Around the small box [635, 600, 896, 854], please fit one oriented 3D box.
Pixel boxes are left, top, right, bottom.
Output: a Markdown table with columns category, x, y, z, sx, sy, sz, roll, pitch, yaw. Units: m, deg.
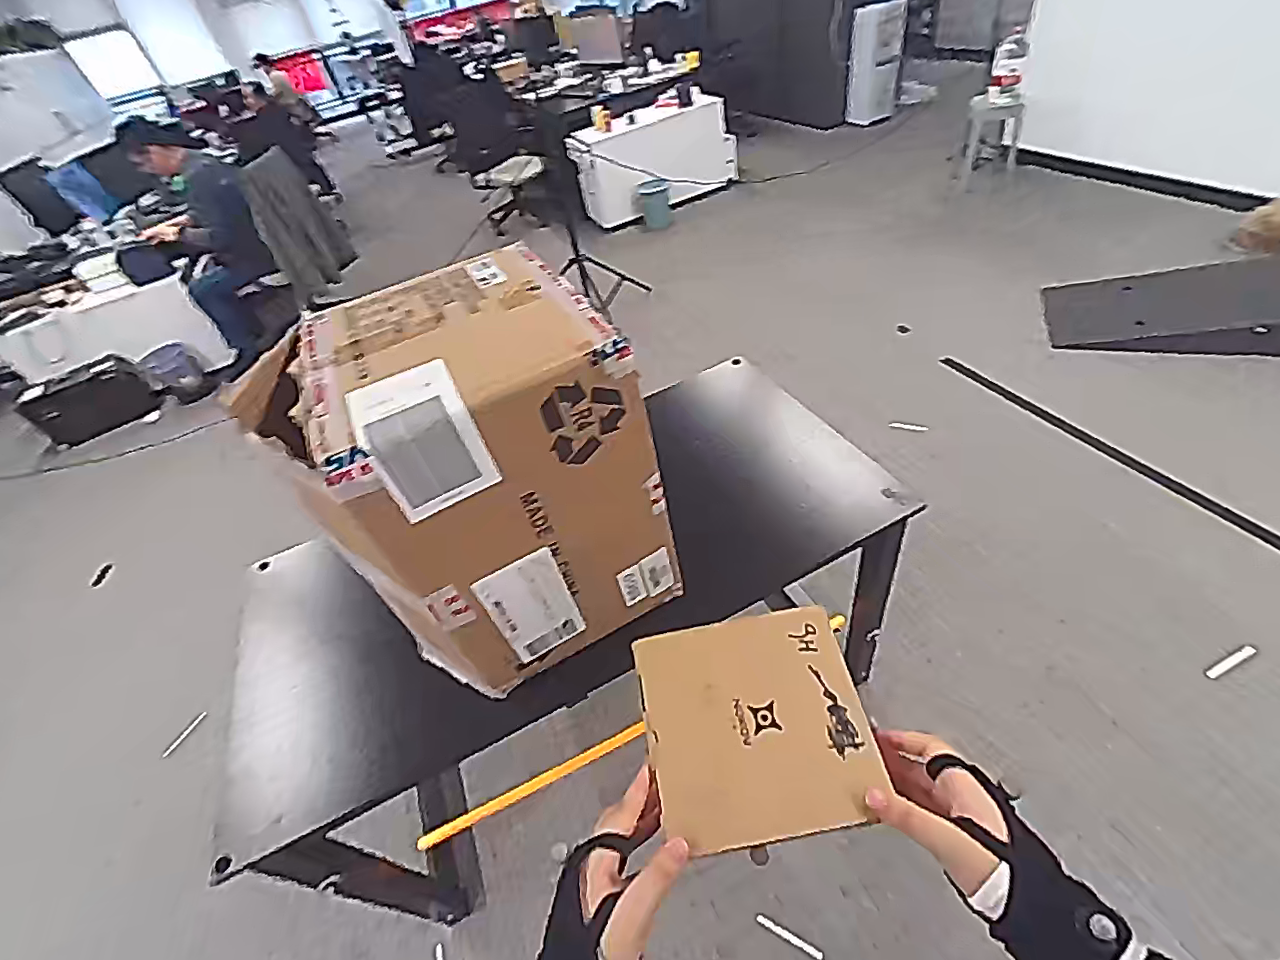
| category | x | y | z | sx | sy | sz | roll | pitch | yaw |
| --- | --- | --- | --- | --- | --- | --- | --- | --- | --- |
| small box | 0.100 | 0.233 | 0.499 | 0.179 | 0.176 | 0.168 | -10 | 54 | 0 |
